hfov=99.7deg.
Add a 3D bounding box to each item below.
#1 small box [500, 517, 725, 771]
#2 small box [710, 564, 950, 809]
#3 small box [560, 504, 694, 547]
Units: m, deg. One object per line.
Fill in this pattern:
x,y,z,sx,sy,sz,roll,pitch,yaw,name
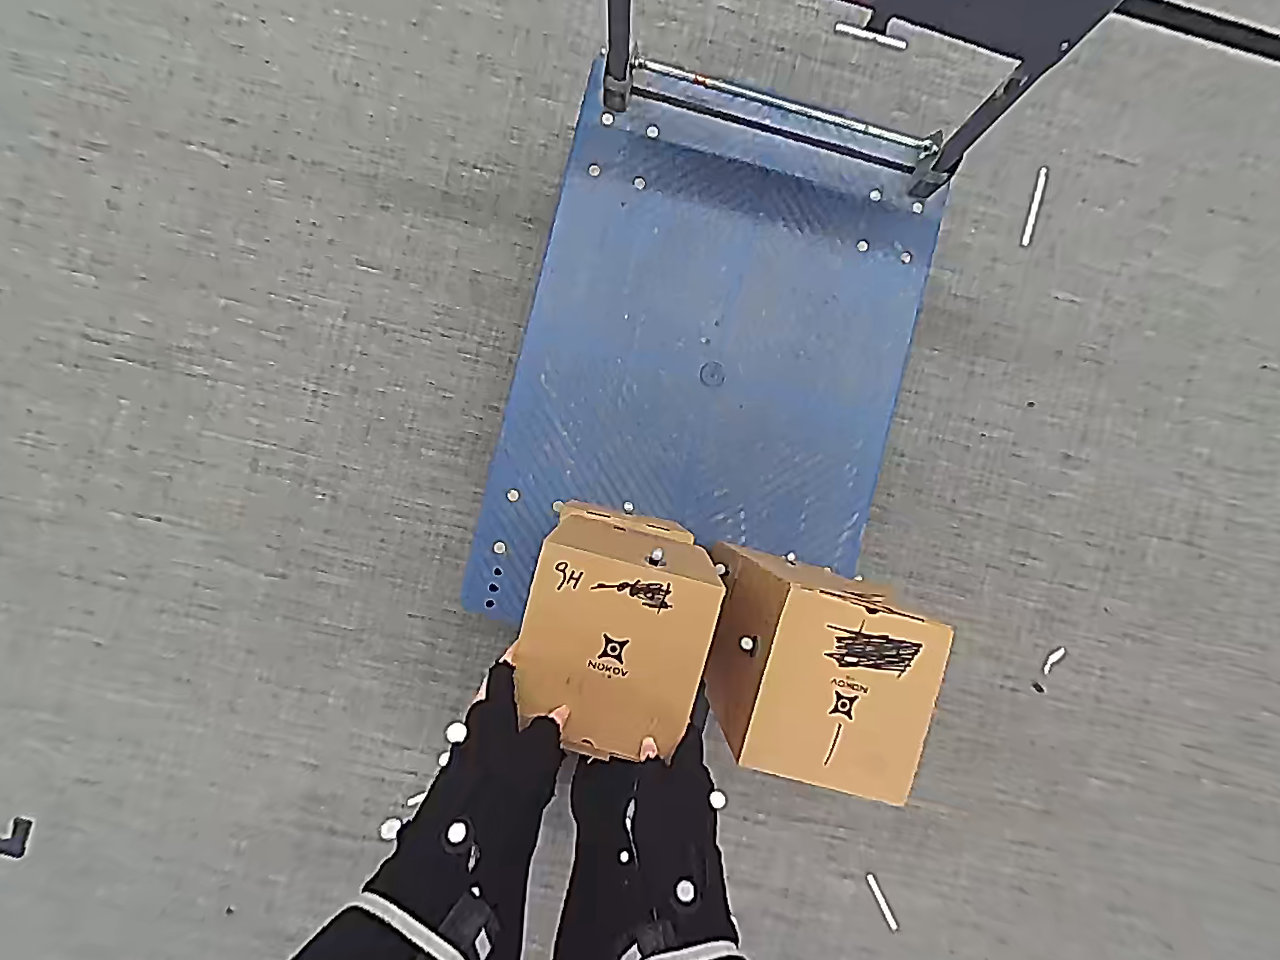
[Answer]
-0.025,0.151,0.558,0.168,0.176,0.179,16,95,-1,small box
0.184,0.201,0.578,0.168,0.176,0.179,16,90,-3,small box
-0.035,0.136,0.730,0.168,0.176,0.179,13,89,-4,small box
